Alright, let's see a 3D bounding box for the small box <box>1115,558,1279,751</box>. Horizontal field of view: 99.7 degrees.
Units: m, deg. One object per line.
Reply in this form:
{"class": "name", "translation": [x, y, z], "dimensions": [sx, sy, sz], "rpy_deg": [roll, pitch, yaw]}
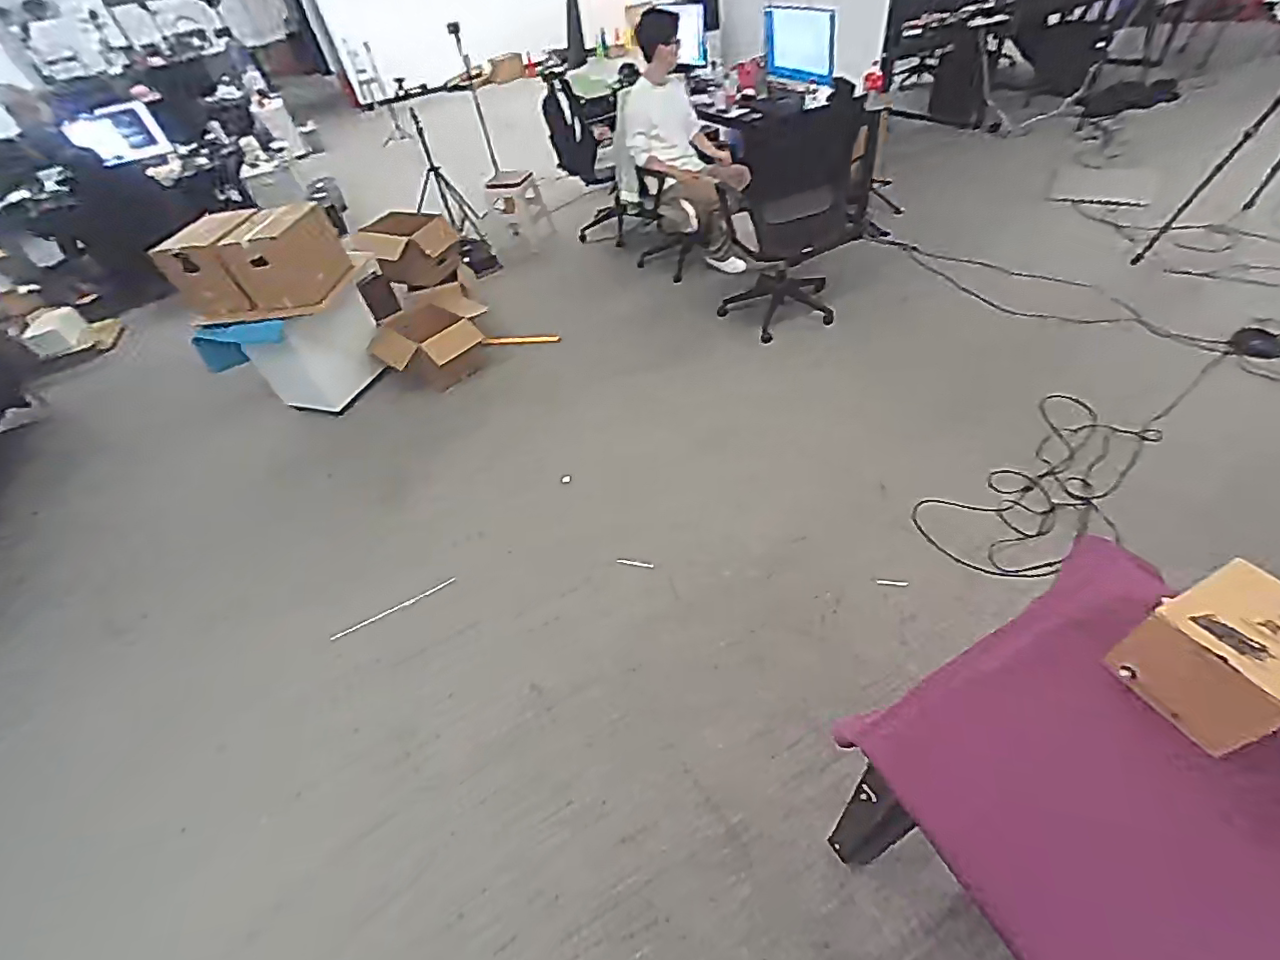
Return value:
{"class": "small box", "translation": [0.833, 0.249, 0.764], "dimensions": [0.179, 0.176, 0.168], "rpy_deg": [-24, 48, -11]}
